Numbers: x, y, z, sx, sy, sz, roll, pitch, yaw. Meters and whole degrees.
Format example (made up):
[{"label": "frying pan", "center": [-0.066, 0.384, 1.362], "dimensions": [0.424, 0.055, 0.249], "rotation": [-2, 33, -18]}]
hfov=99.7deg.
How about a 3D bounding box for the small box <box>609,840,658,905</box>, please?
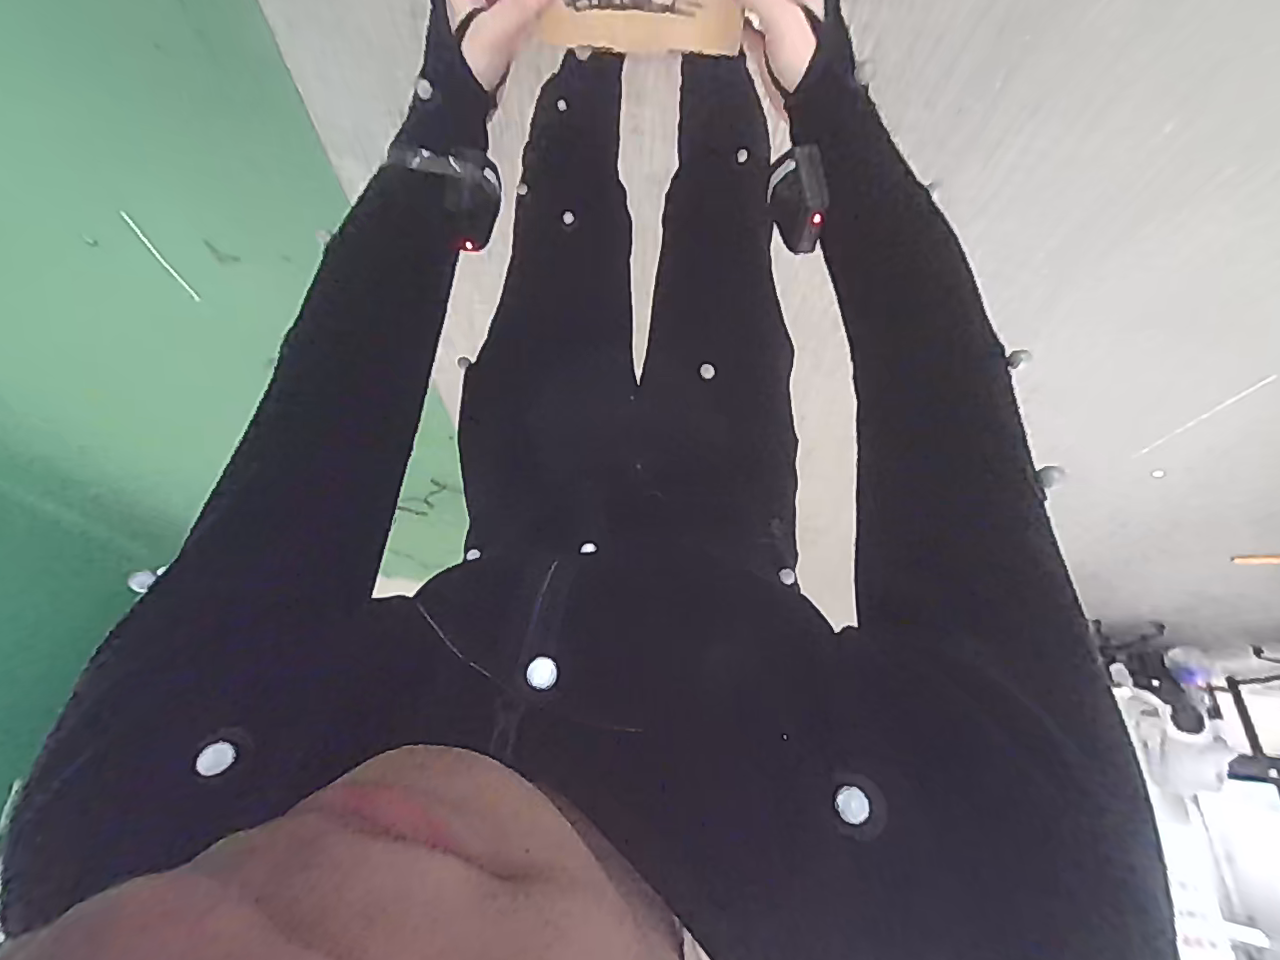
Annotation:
[{"label": "small box", "center": [-0.022, 1.536, 2.124], "dimensions": [0.179, 0.176, 0.168], "rotation": [6, 153, 3]}]
